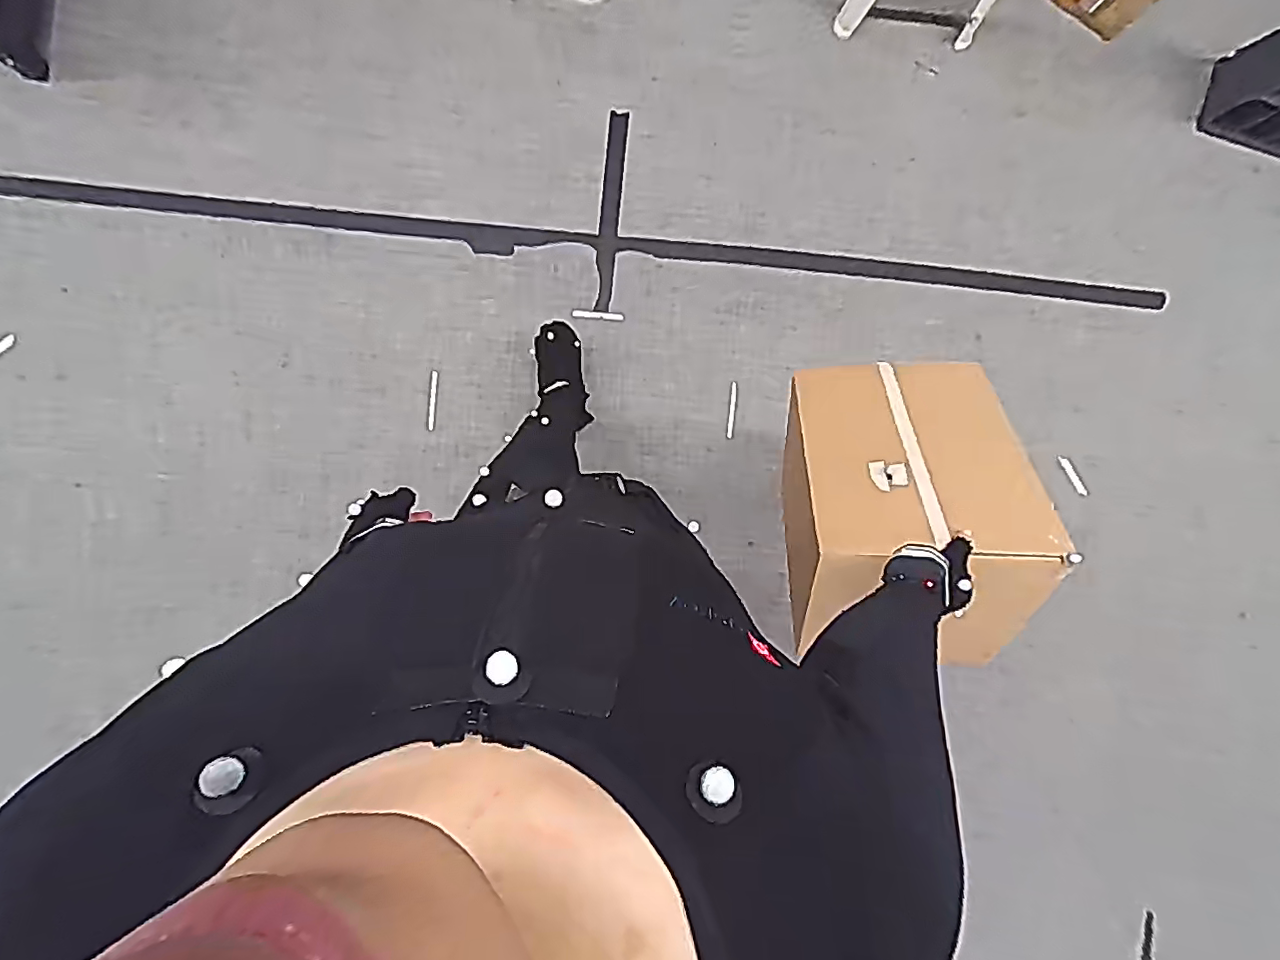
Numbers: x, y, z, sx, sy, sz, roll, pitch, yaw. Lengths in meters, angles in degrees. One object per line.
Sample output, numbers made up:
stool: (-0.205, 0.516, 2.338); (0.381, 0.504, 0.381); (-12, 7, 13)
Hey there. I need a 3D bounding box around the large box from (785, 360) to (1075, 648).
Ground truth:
large box: (0.440, 0.037, 0.949); (0.320, 0.320, 0.408); (0, 51, 9)
